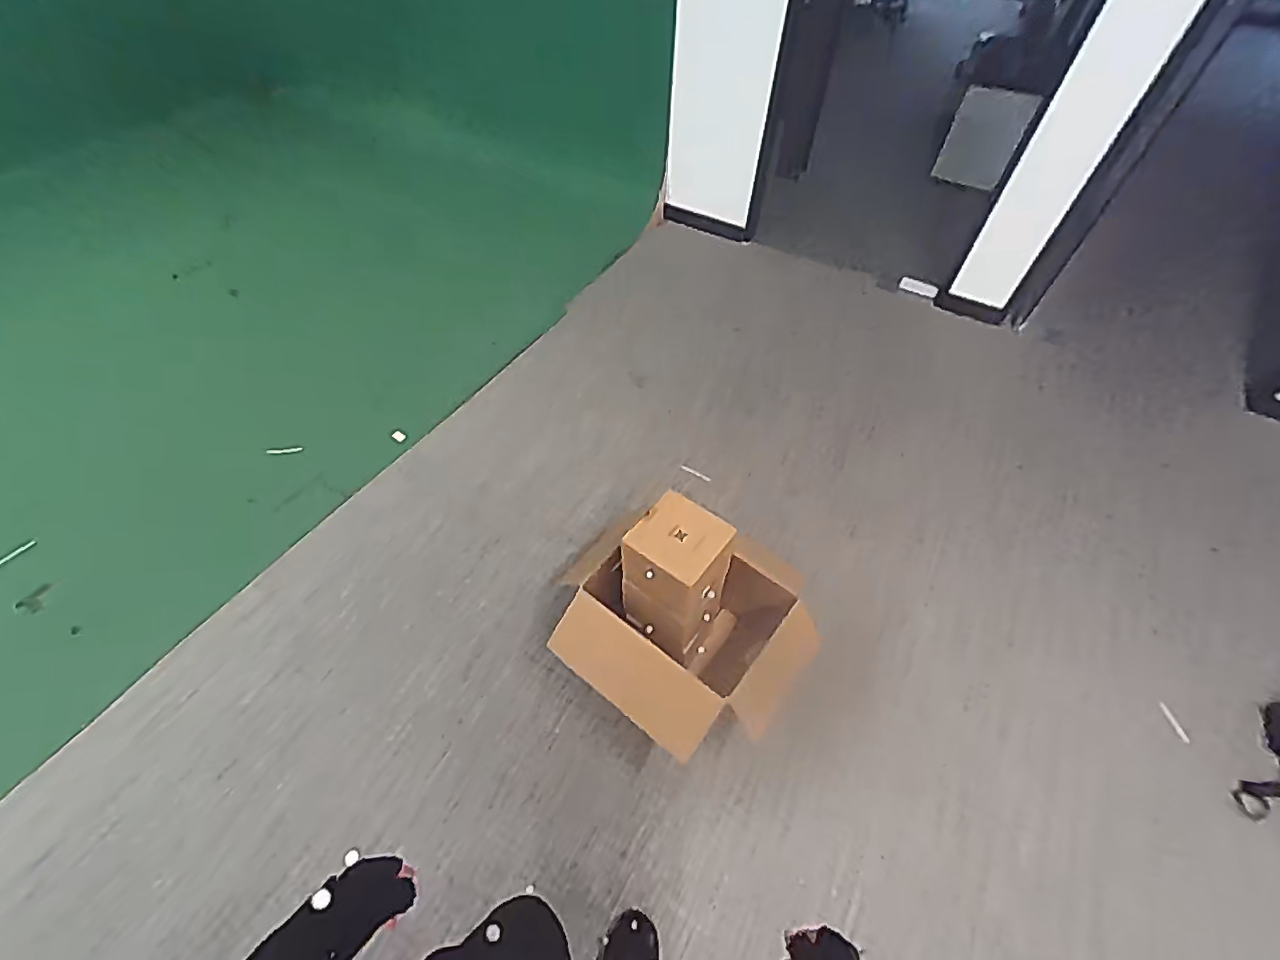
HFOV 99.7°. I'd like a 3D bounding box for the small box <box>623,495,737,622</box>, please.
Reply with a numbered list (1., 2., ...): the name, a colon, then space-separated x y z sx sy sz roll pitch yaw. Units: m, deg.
1. small box: 0.081 0.171 1.153 0.179 0.176 0.168 31 59 22
